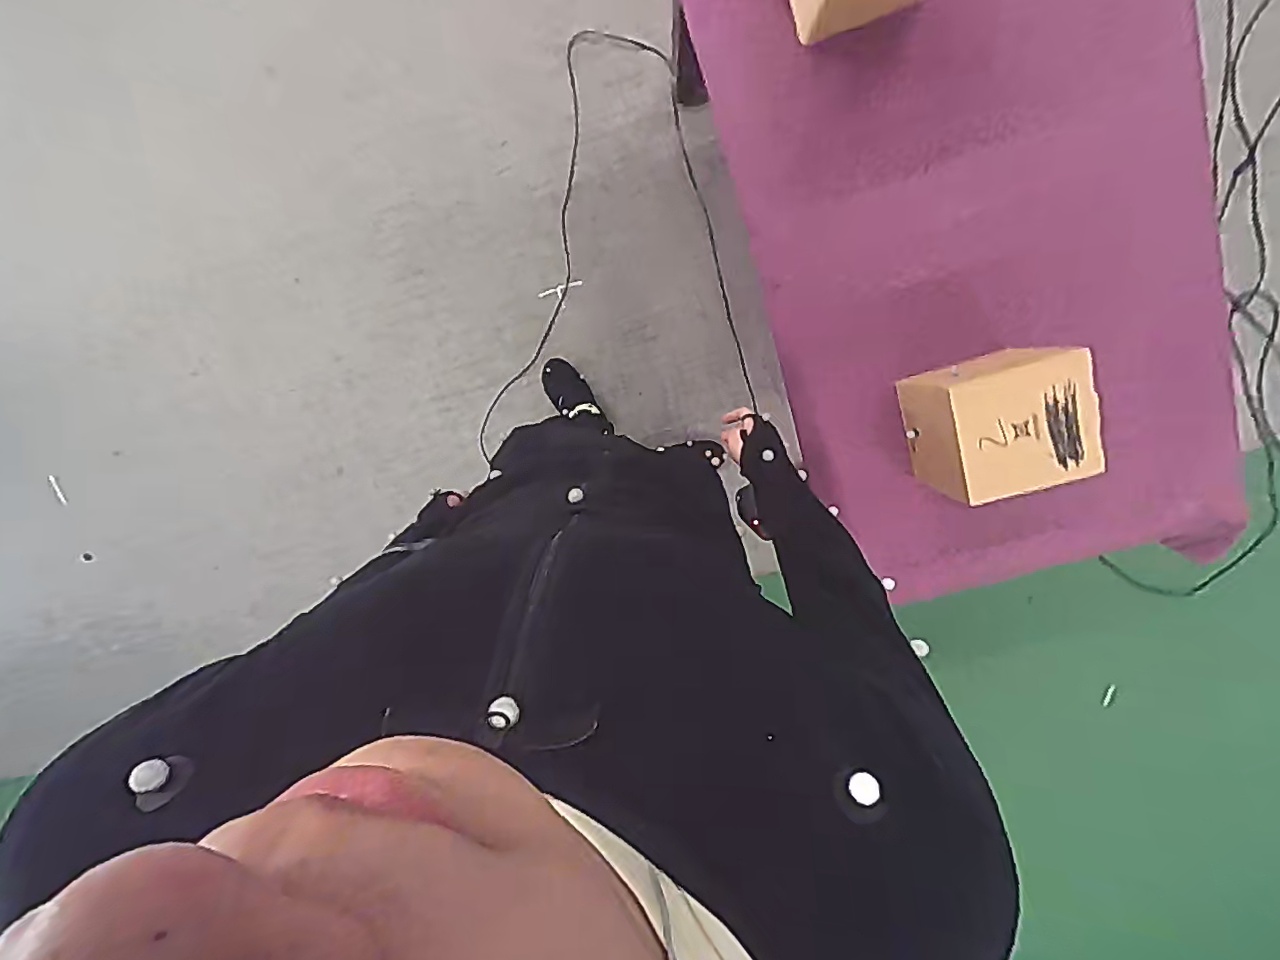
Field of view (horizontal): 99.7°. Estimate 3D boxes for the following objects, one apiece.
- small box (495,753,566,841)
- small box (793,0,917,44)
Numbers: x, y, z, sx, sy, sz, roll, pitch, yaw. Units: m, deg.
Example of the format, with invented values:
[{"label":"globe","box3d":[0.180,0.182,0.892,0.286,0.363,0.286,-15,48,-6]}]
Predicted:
[{"label":"small box","box3d":[-0.356,1.046,1.794,0.168,0.176,0.179,-14,101,5]},{"label":"small box","box3d":[0.277,-0.683,0.653,0.179,0.176,0.168,-18,101,6]}]
